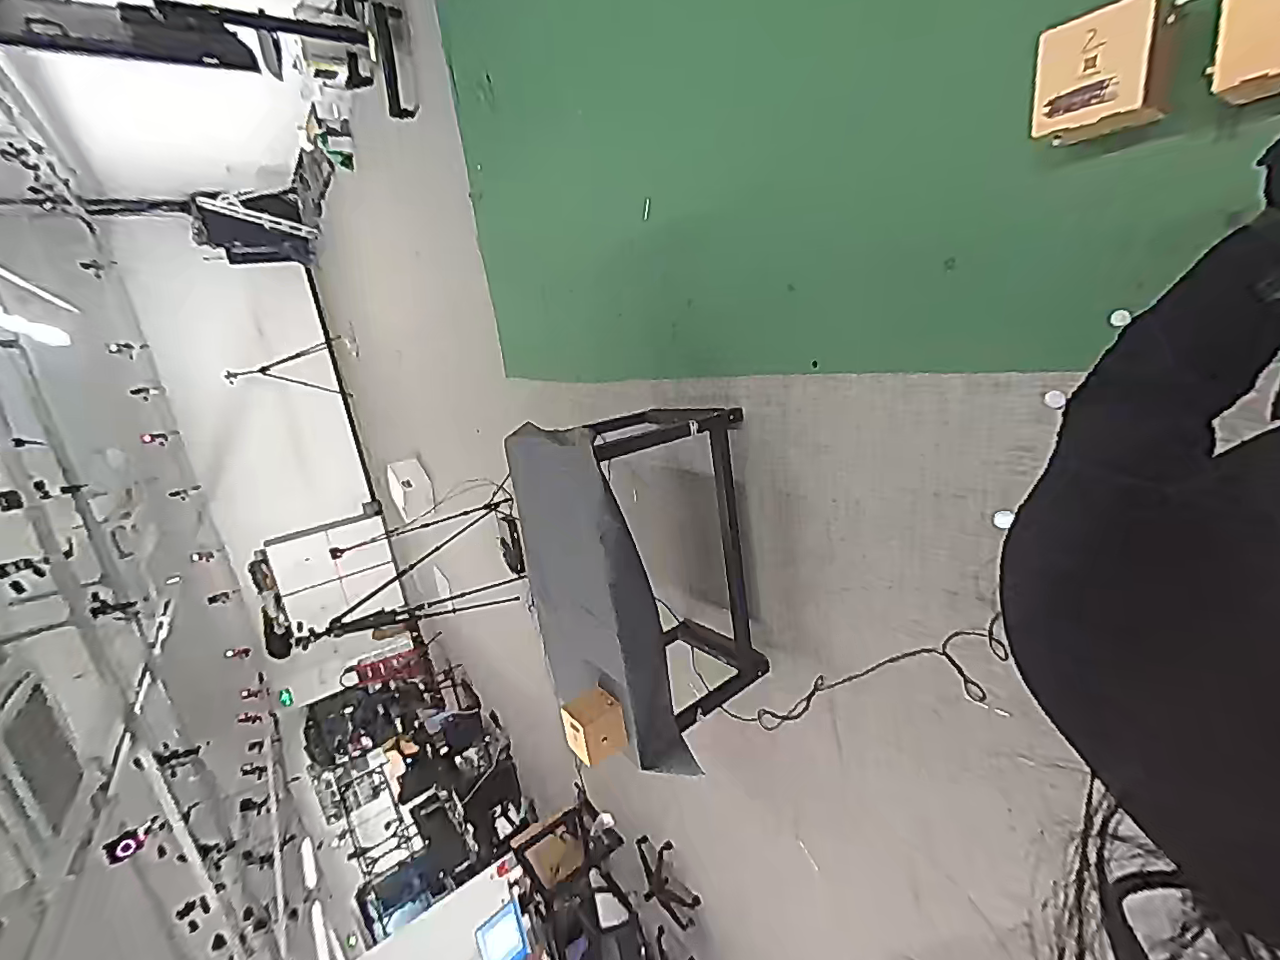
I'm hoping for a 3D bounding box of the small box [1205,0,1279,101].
[{"bbox_3d":[1.010,-0.721,0.831,0.168,0.176,0.179,11,115,52],"label":"small box"}]

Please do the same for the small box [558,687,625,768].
[{"bbox_3d":[-0.173,0.895,1.976,0.168,0.176,0.179,11,114,53],"label":"small box"}]
